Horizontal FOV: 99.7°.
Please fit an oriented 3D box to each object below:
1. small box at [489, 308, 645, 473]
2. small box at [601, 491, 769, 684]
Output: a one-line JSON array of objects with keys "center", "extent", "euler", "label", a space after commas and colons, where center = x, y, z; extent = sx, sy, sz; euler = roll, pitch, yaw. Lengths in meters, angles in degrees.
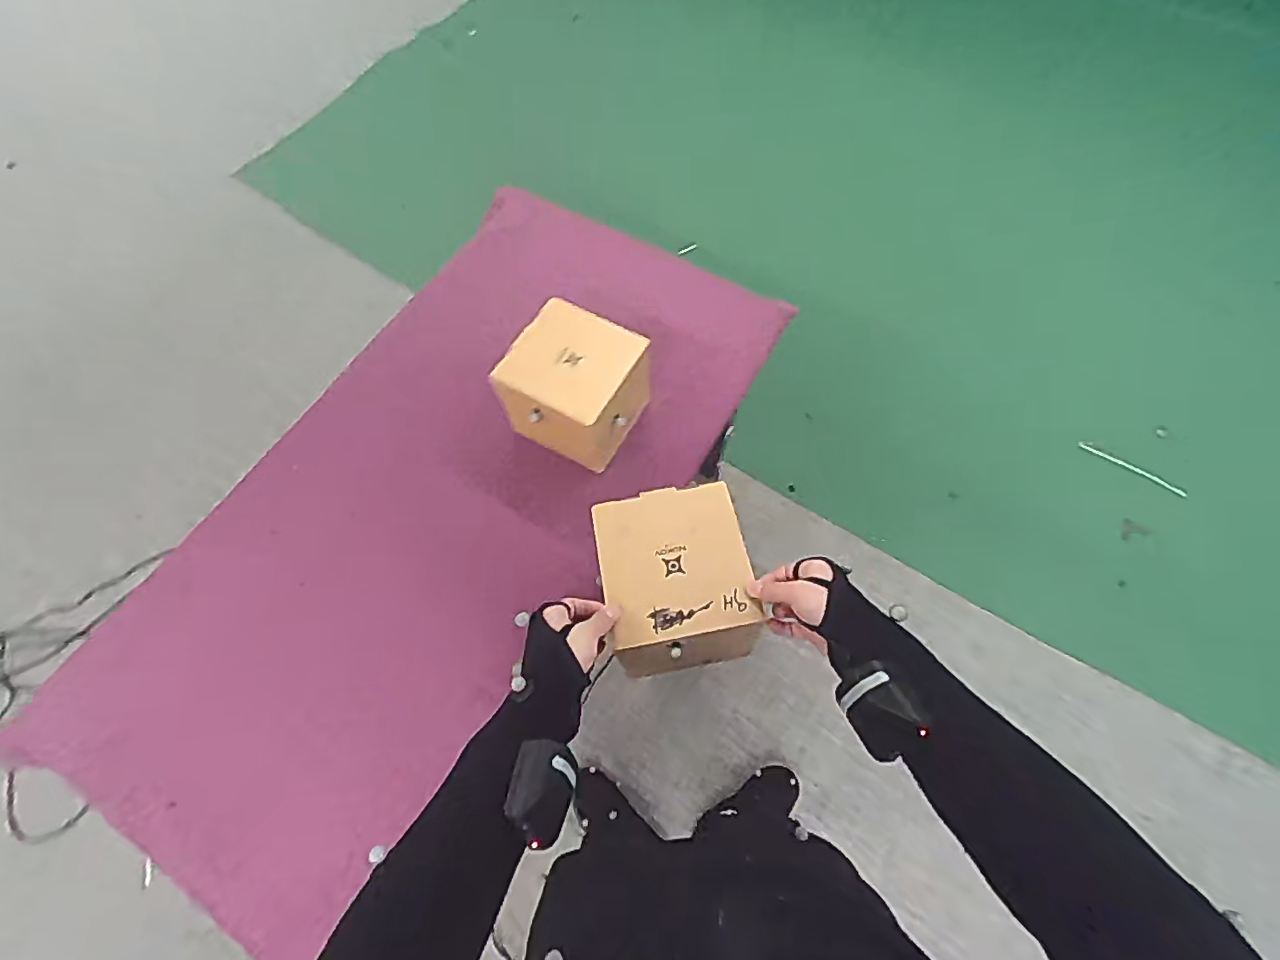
[{"center": [-0.102, -0.131, 0.861], "extent": [0.179, 0.176, 0.168], "euler": [27, 71, 14], "label": "small box"}, {"center": [0.049, 0.138, 0.672], "extent": [0.168, 0.176, 0.179], "euler": [-10, 60, 0], "label": "small box"}]
